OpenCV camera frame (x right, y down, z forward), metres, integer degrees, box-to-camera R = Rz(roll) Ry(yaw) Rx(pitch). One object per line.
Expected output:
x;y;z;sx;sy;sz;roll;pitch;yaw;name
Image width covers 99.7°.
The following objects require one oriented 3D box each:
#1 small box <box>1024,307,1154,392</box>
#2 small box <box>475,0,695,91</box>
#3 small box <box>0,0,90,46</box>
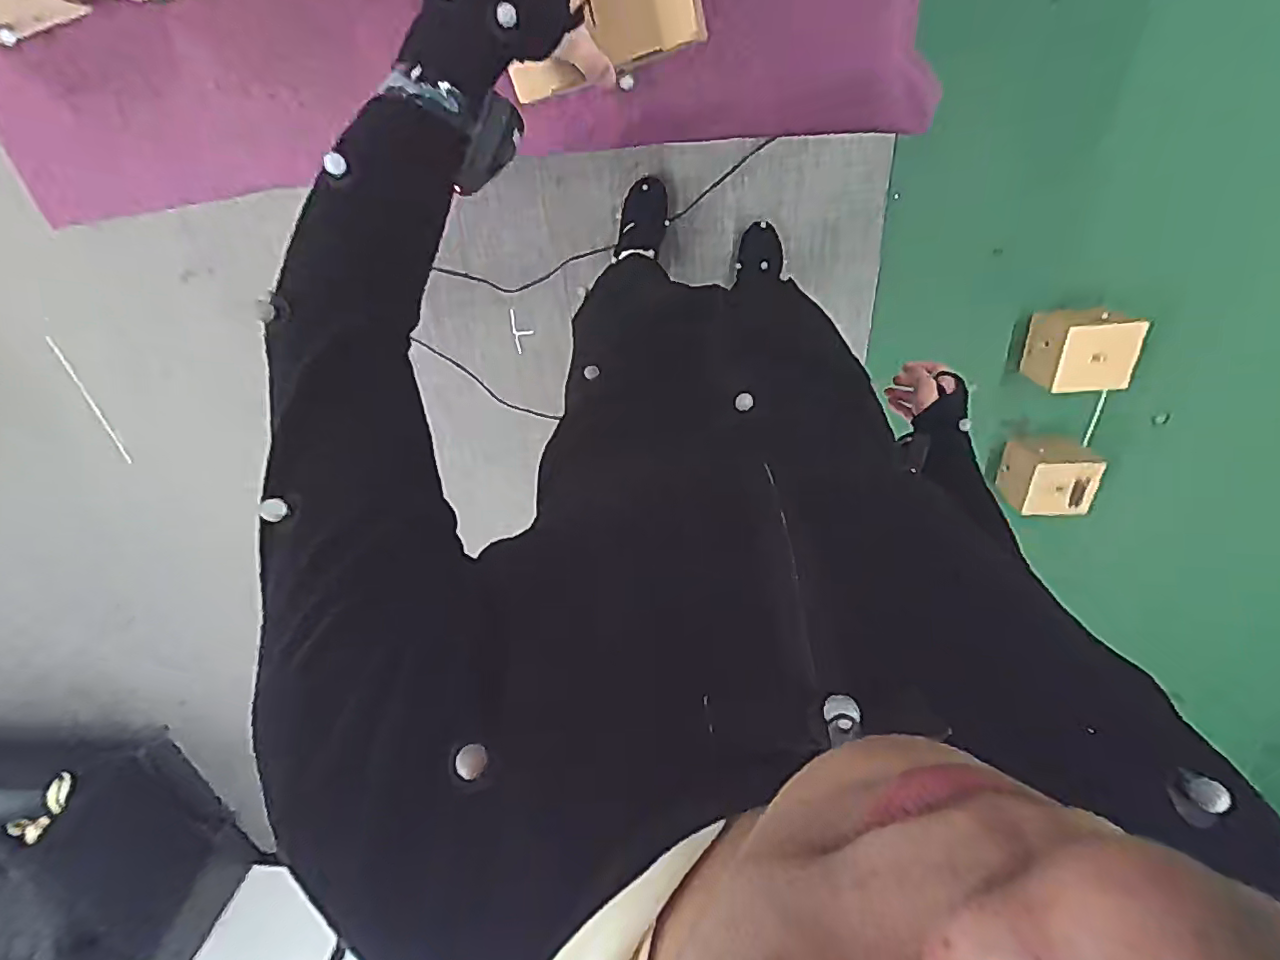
1.114;-0.331;1.361;0.179;0.176;0.168;-3;120;8;small box
-0.052;-0.468;0.470;0.168;0.176;0.179;-7;128;16;small box
-0.779;-0.604;0.577;0.168;0.176;0.179;-7;120;11;small box
